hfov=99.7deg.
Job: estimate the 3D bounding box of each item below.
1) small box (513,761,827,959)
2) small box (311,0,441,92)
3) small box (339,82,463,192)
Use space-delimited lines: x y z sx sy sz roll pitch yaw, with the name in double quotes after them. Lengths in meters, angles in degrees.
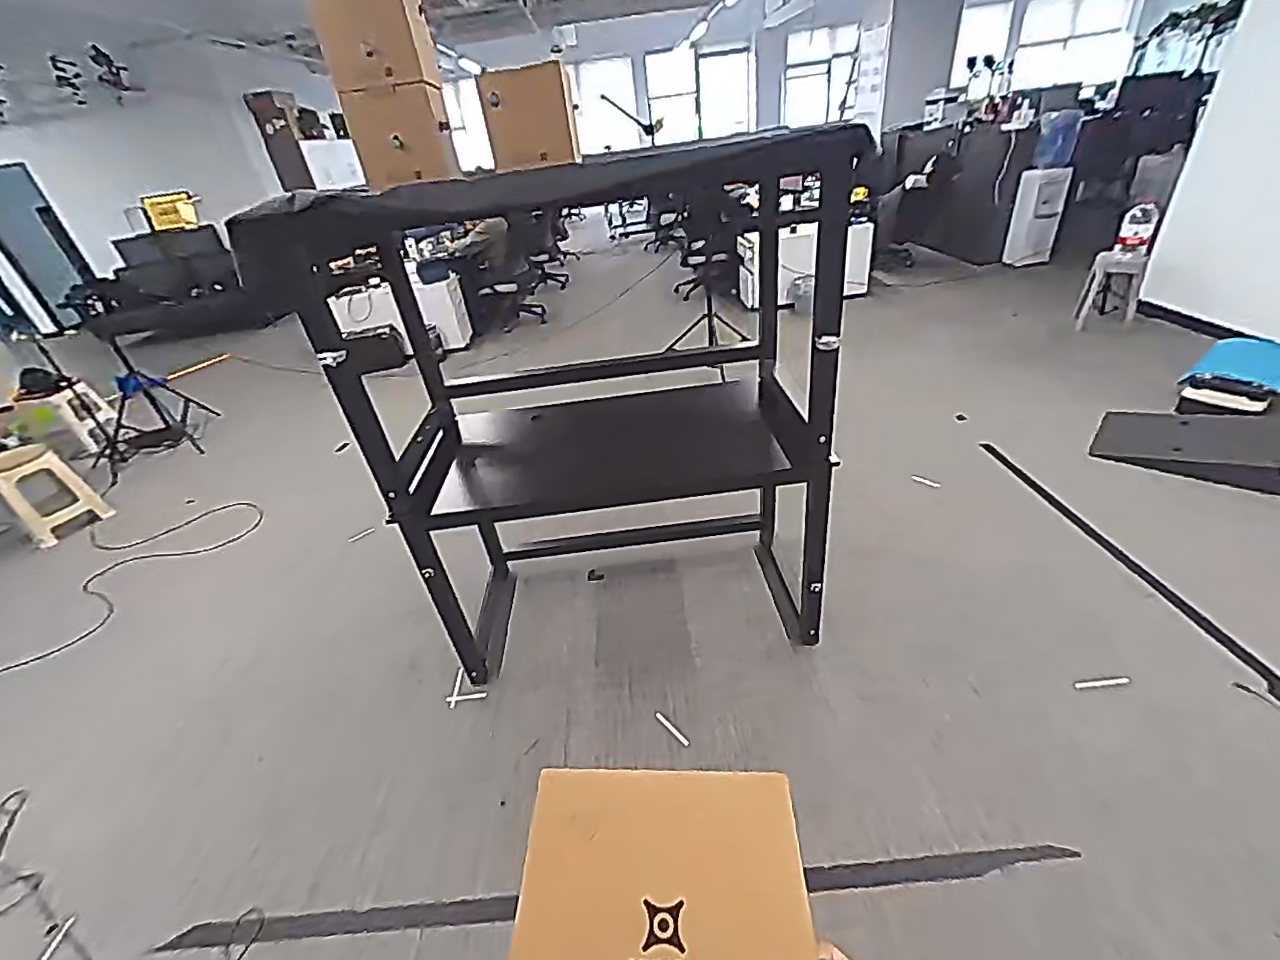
0.017 0.305 0.338 0.168 0.176 0.179 -1 37 2 "small box"
-0.493 -0.837 1.024 0.168 0.176 0.179 -10 32 -2 "small box"
-0.475 -0.696 1.109 0.168 0.176 0.179 -9 32 -3 "small box"
